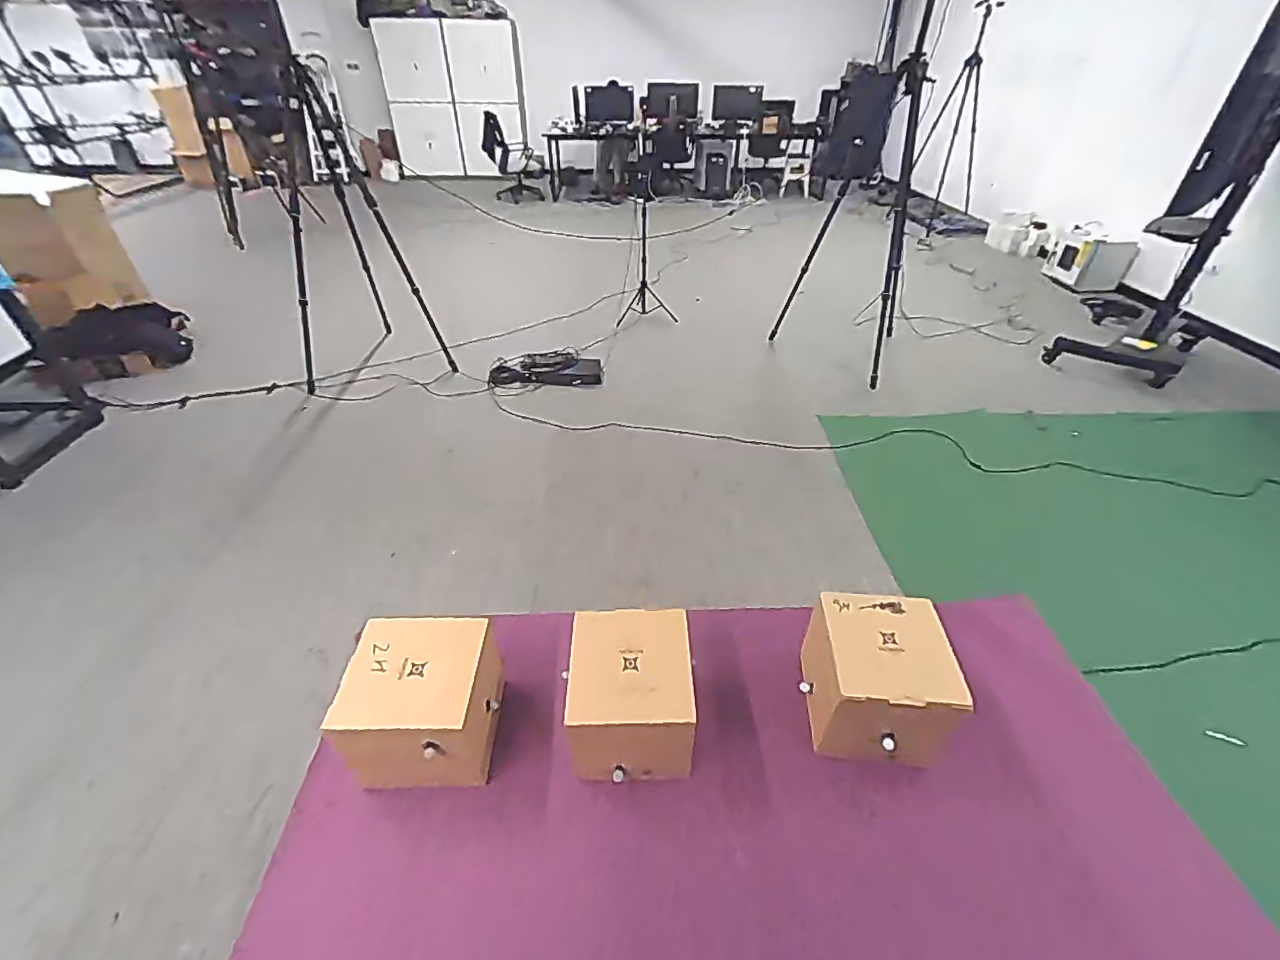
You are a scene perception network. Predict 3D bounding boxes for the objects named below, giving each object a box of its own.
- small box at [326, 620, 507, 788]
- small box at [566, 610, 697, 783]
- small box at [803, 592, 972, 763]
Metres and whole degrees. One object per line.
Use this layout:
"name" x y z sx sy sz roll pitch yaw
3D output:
"small box" -0.298 0.319 0.771 0.179 0.176 0.168 0 38 0
"small box" -0.010 0.310 0.781 0.168 0.176 0.179 -1 39 1
"small box" 0.346 0.290 0.795 0.168 0.176 0.179 4 39 4
